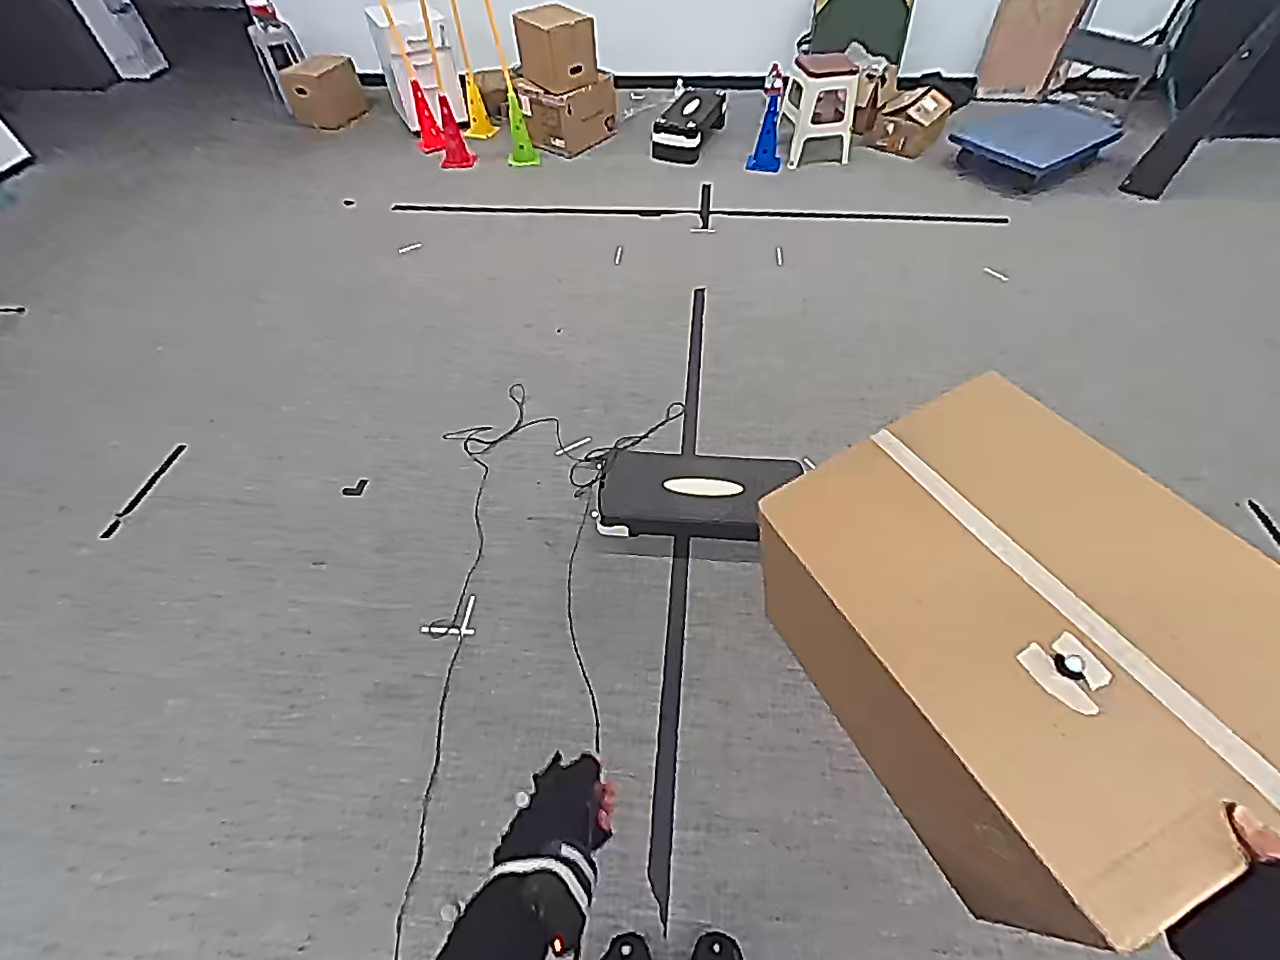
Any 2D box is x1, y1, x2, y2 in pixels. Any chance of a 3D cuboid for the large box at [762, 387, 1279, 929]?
[{"bbox_3d":[0.379,0.177,0.604,0.320,0.320,0.408,-29,53,-5],"label":"large box"}]
